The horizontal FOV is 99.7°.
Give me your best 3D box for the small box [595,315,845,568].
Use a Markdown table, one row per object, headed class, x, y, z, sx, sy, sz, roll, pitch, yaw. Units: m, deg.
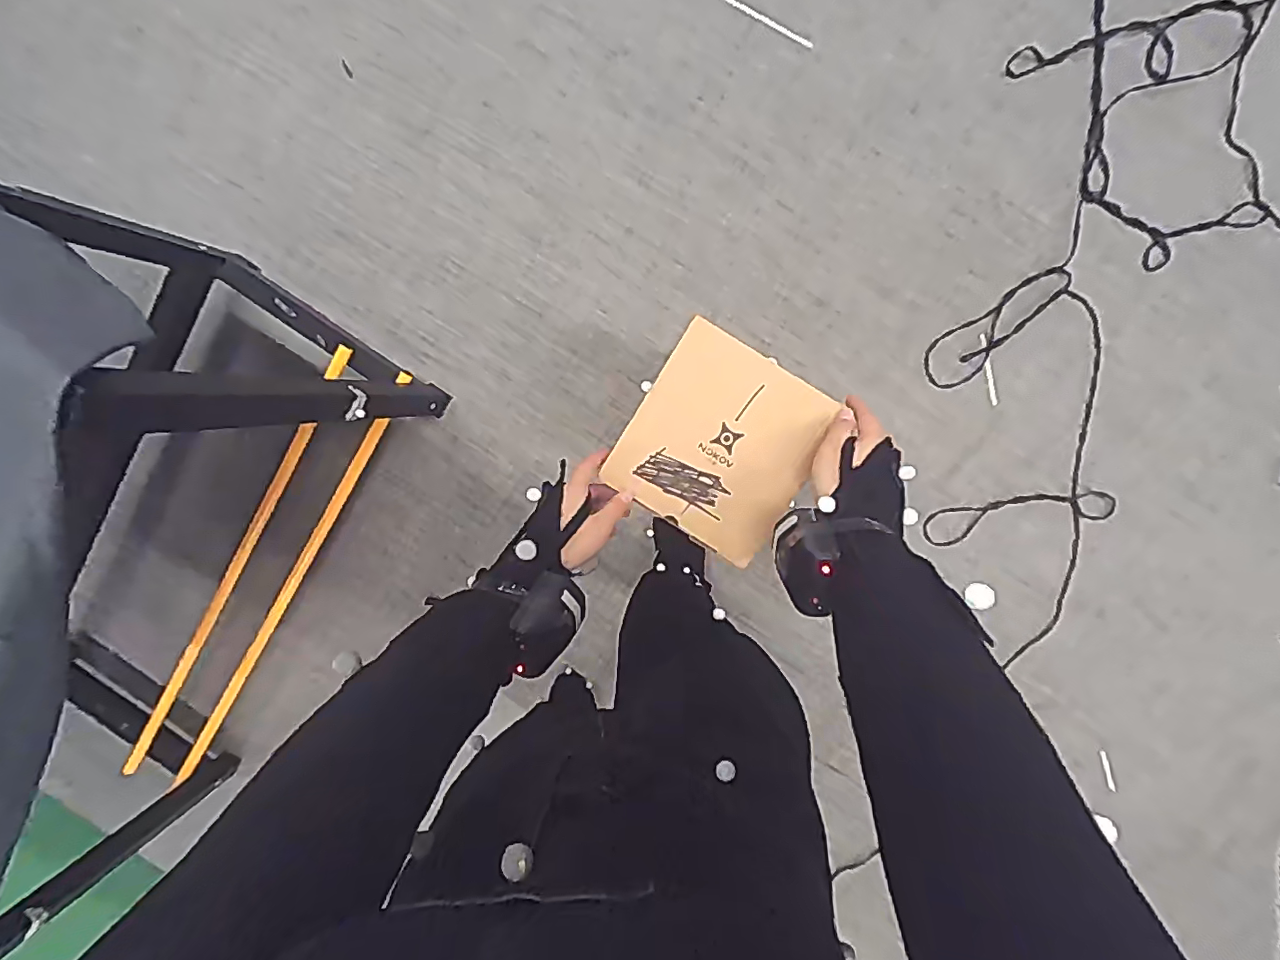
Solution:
| class | x | y | z | sx | sy | sz | roll | pitch | yaw |
| --- | --- | --- | --- | --- | --- | --- | --- | --- | --- |
| small box | 0.078 | -0.041 | 0.568 | 0.168 | 0.176 | 0.179 | 33 | 99 | 0 |
